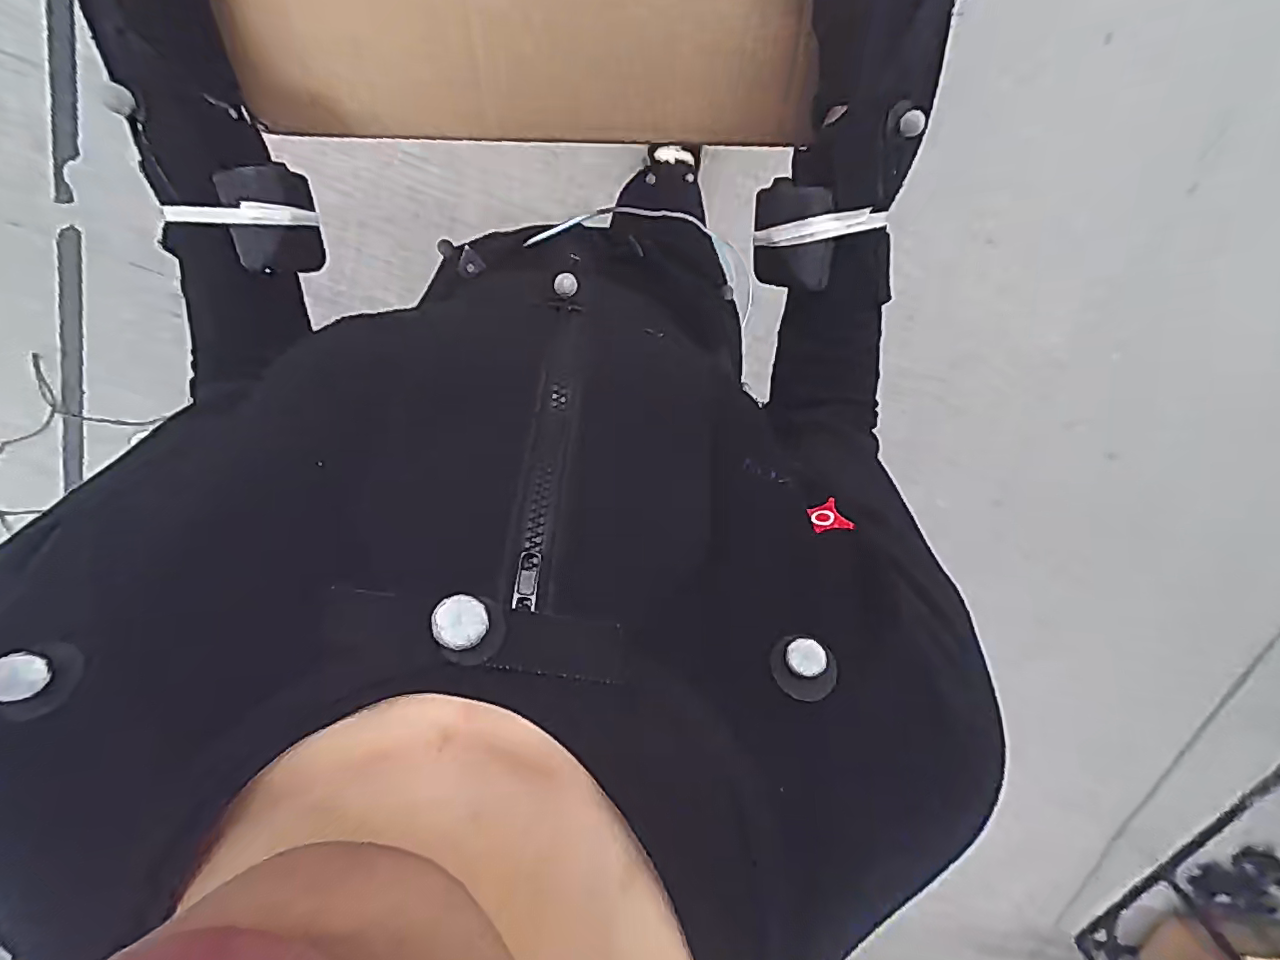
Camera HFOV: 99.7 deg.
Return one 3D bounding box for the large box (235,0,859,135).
[{"bbox_3d":[-0.058,-0.465,0.393,0.408,0.320,0.320,2,135,1],"label":"large box"}]
